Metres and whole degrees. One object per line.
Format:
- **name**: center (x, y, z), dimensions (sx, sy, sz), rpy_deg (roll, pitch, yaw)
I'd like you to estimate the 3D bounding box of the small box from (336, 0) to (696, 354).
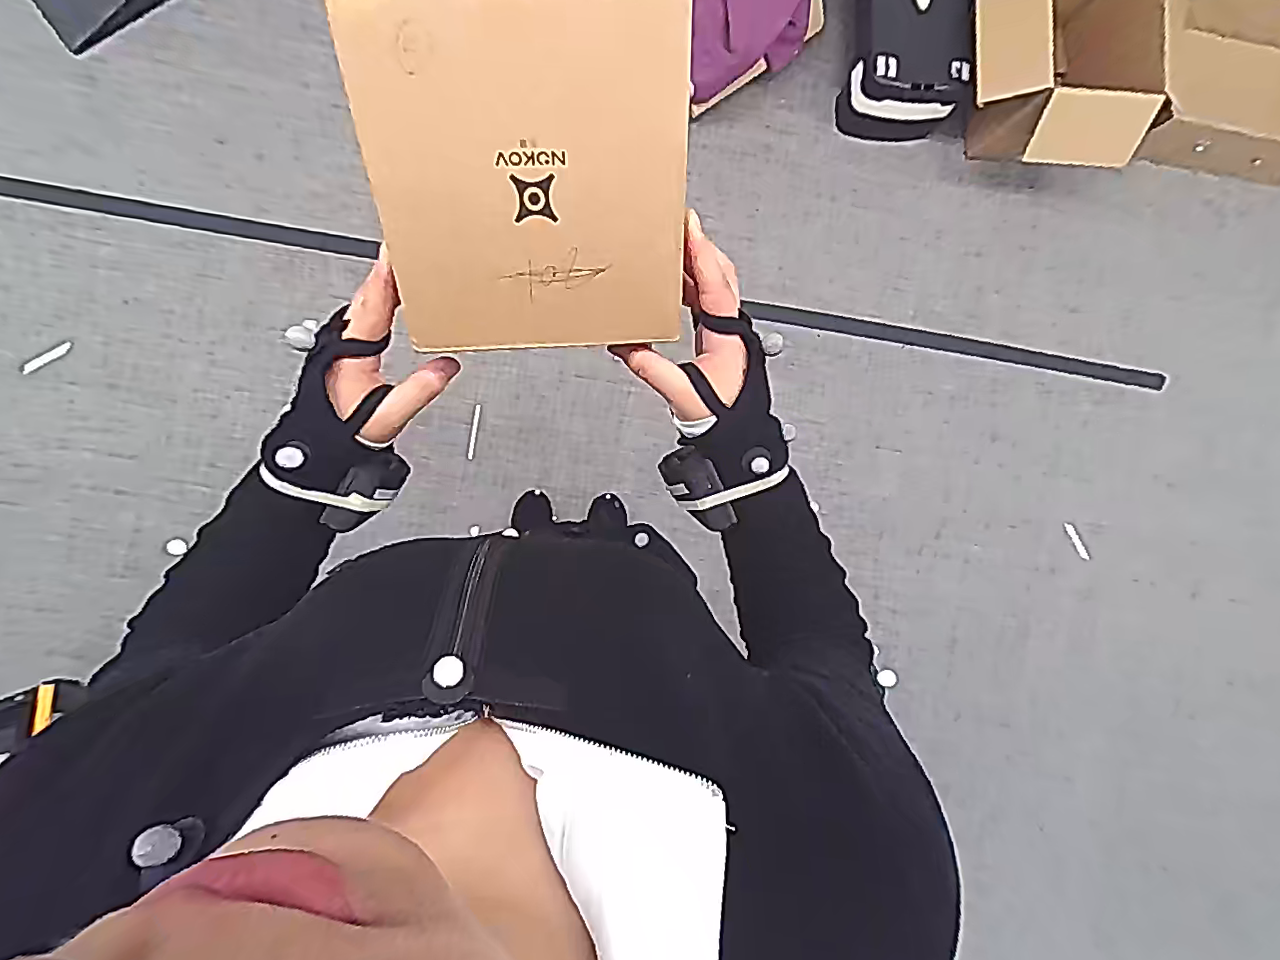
- **small box**: center (-0.063, -0.196, 0.354), dimensions (0.168, 0.176, 0.179), rpy_deg (-3, 124, -4)
